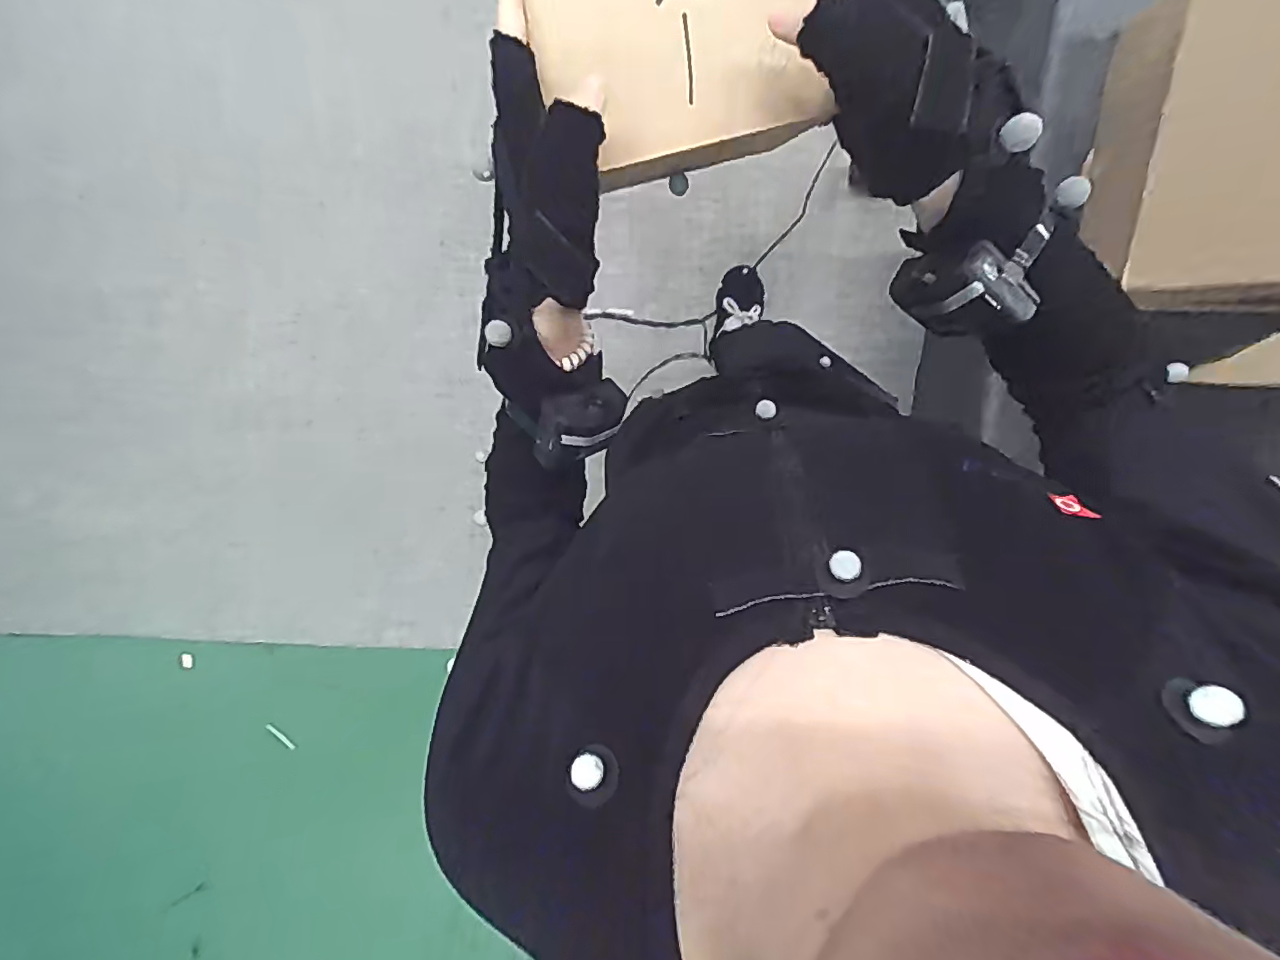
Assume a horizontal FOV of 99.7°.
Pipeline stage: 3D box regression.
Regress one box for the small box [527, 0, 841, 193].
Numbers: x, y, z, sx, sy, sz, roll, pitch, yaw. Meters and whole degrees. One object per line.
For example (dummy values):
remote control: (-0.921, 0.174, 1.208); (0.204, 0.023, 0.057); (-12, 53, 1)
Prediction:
small box: (0.015, -0.305, 0.352); (0.168, 0.176, 0.179); (-11, 114, 4)
